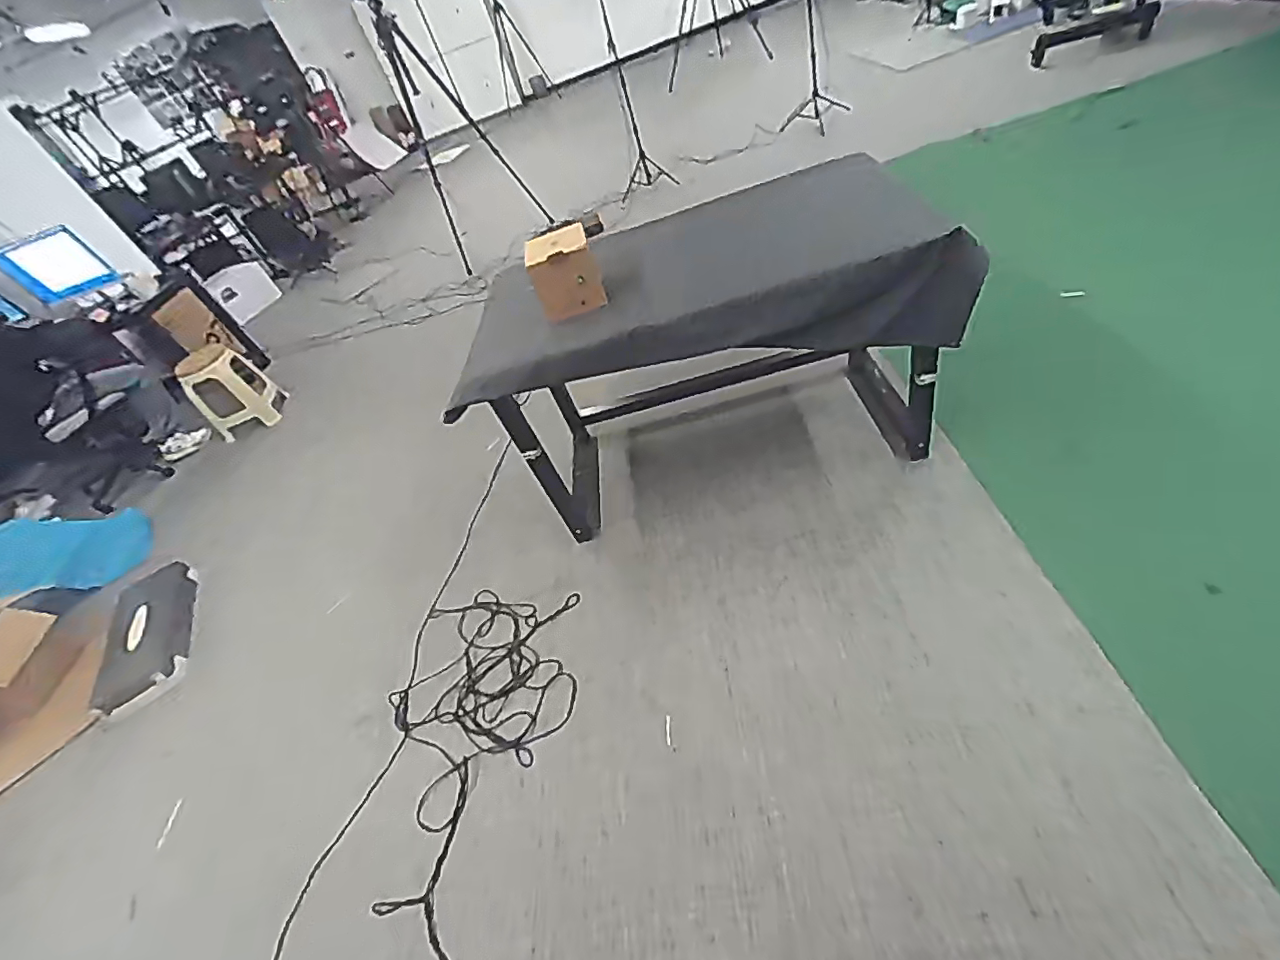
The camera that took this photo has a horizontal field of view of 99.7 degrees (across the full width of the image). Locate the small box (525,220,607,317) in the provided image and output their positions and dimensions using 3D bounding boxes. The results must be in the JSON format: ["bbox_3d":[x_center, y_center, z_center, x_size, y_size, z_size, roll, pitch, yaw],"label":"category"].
[{"bbox_3d":[-0.196,-0.558,1.442,0.168,0.176,0.179,-18,42,3],"label":"small box"}]
